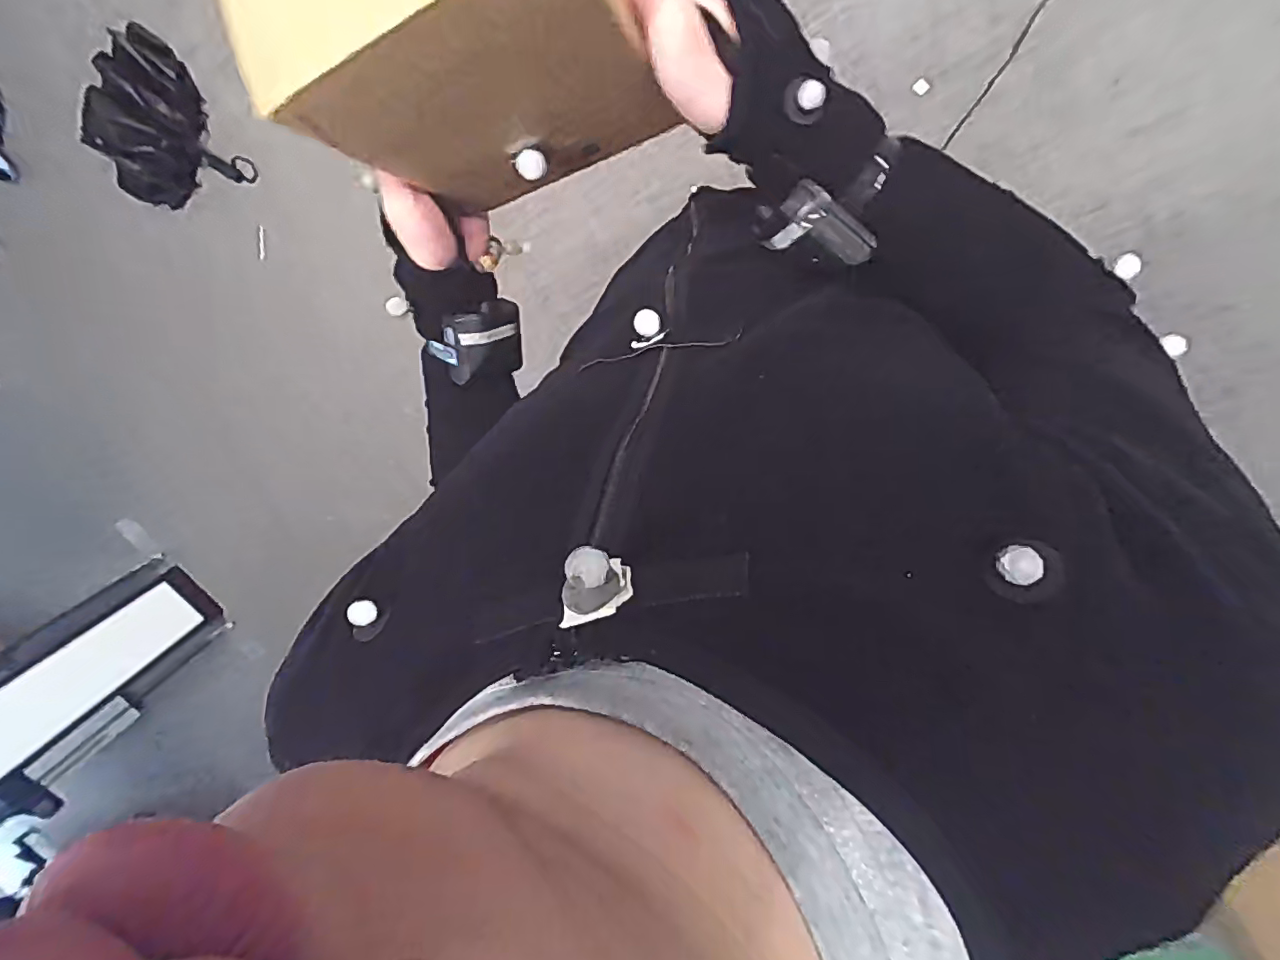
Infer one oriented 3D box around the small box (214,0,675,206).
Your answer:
[{"bbox_3d":[-0.095,-0.279,0.285,0.168,0.176,0.179,-10,97,24],"label":"small box"}]
